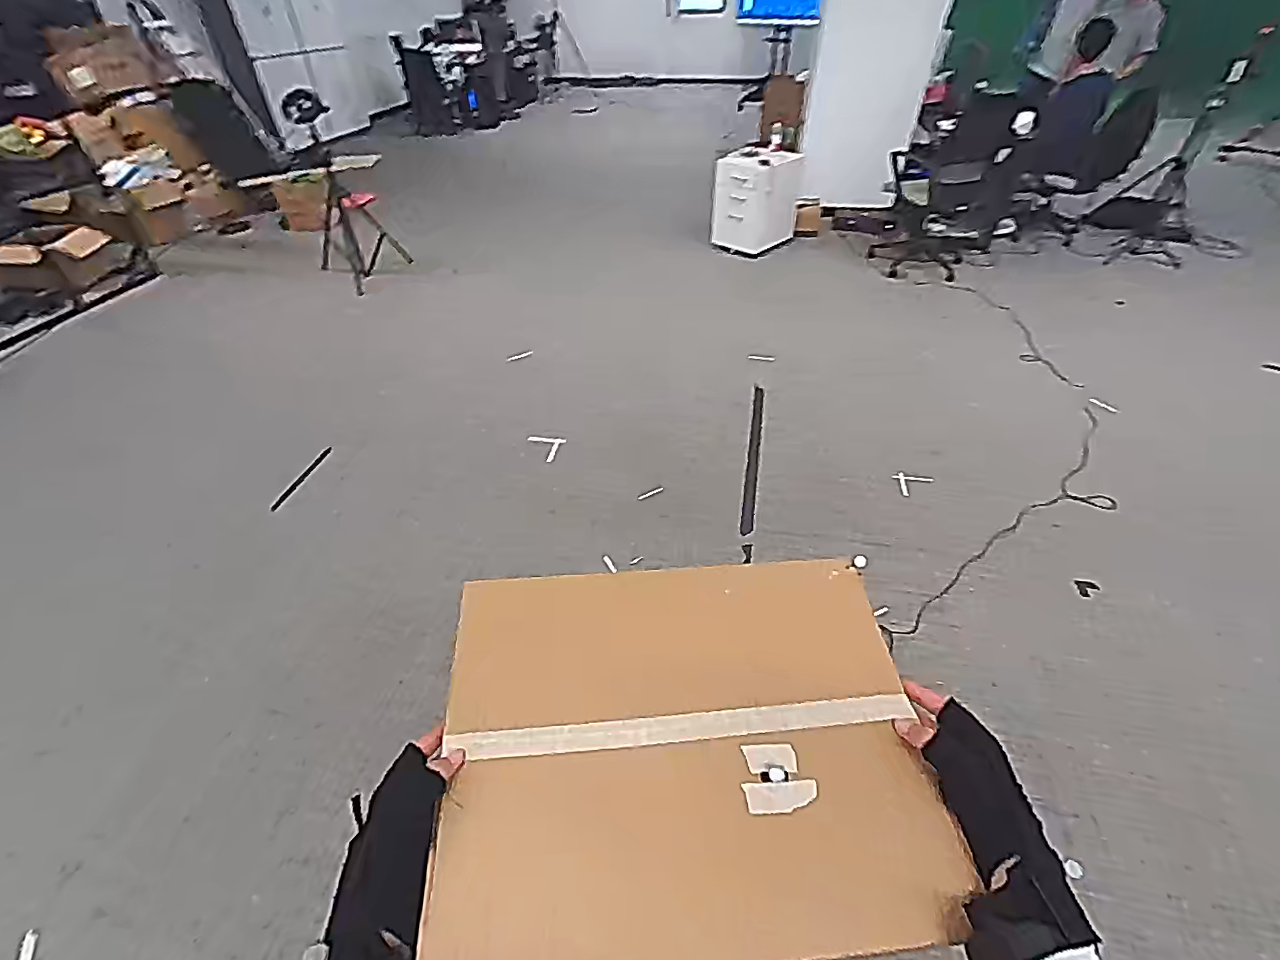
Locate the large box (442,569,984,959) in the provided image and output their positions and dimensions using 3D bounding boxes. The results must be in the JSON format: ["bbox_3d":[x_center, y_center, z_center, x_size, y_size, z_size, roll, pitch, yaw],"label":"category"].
[{"bbox_3d":[0.039,0.320,0.587,0.408,0.320,0.320,-2,51,-5],"label":"large box"}]
